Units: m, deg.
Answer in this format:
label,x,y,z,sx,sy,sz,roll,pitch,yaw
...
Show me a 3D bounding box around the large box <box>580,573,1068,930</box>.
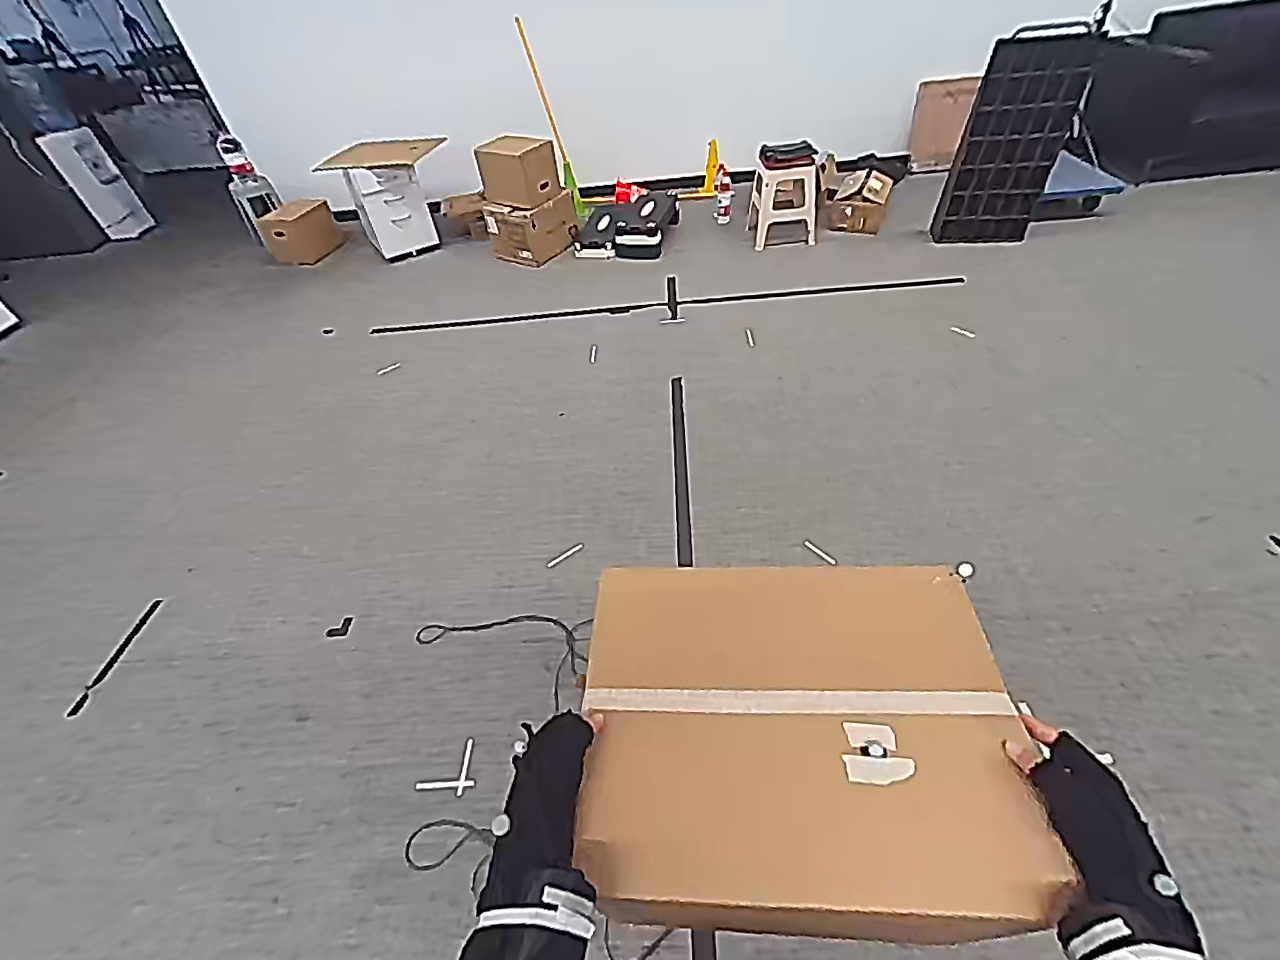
label,x,y,z,sx,sy,sz,roll,pitch,yaw
large box,0.160,0.328,0.651,0.408,0.320,0.320,-1,48,5
